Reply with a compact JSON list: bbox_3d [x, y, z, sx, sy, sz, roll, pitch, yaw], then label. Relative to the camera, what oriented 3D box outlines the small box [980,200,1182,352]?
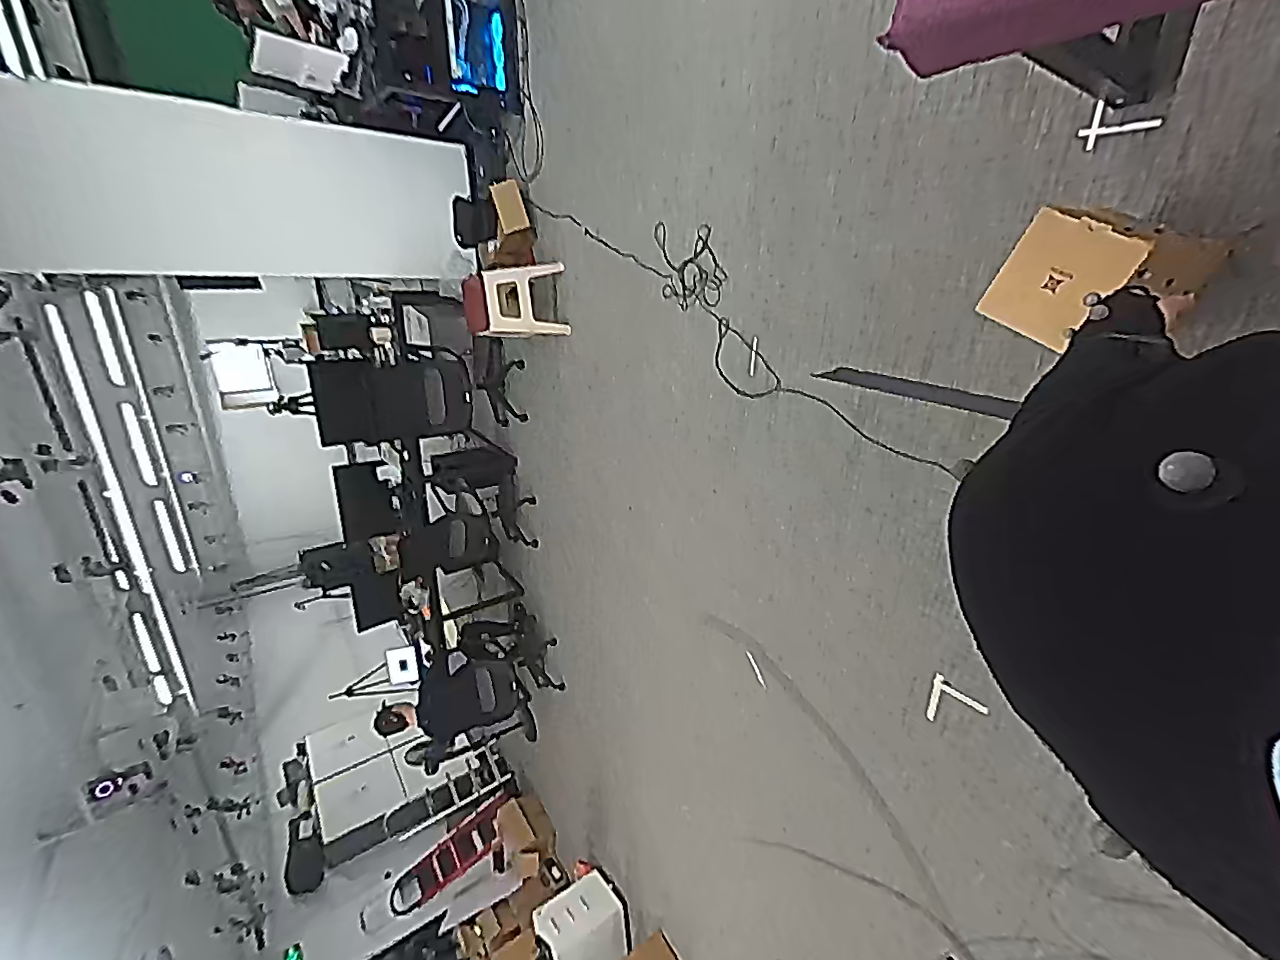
[{"bbox_3d":[0.712,-0.329,0.876,0.168,0.176,0.179,49,138,34],"label":"small box"}]

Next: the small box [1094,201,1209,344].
[{"bbox_3d":[0.846,-0.367,0.961,0.168,0.176,0.179,54,142,29],"label":"small box"}]
